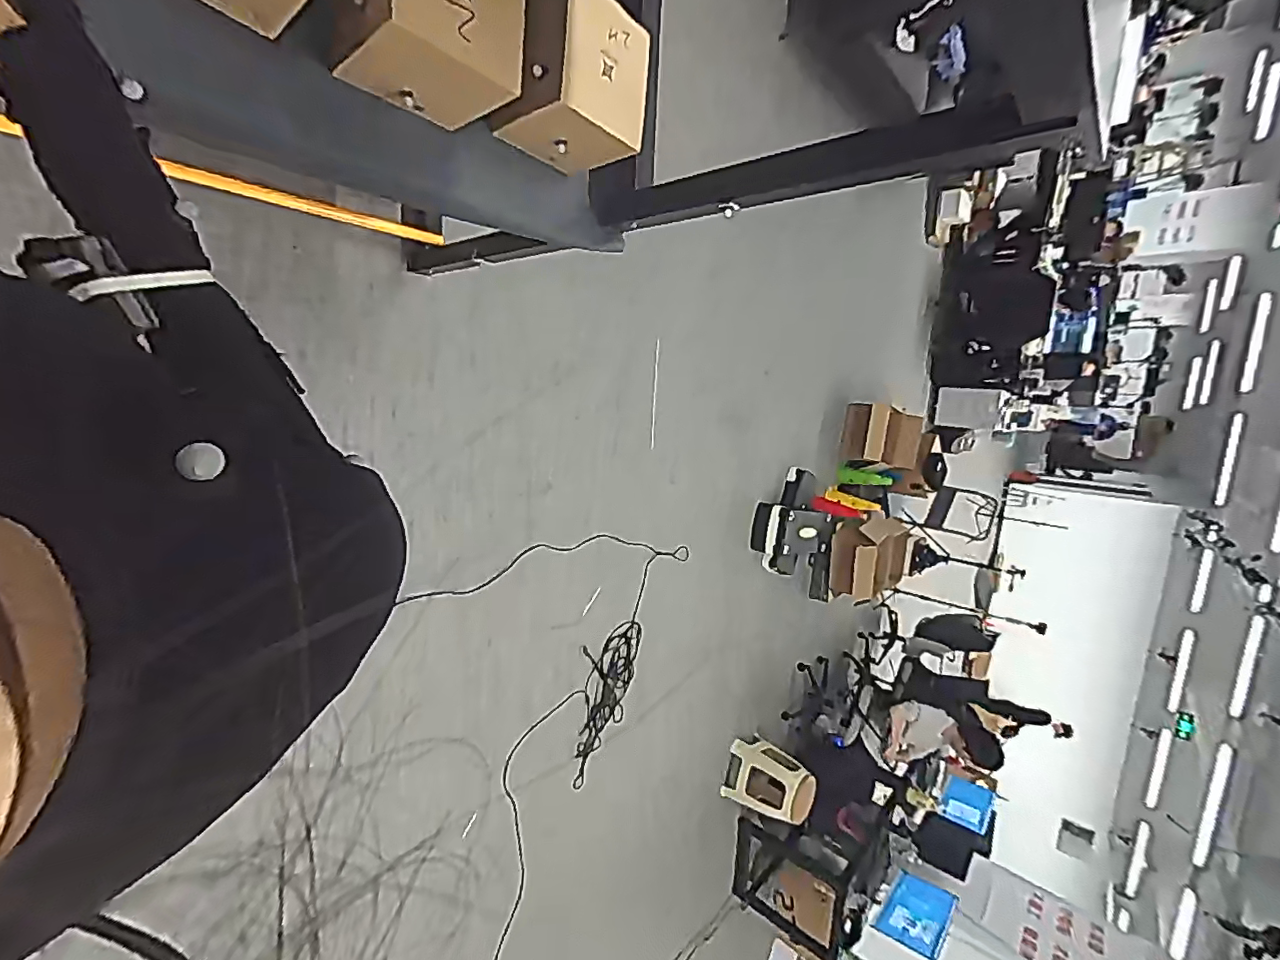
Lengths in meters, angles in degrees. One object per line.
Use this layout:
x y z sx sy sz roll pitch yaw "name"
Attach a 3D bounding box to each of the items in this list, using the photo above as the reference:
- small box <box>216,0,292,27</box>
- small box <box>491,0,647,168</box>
-0.404 -0.583 0.501 0.168 0.176 0.179 3 96 -50 "small box"
-0.112 -0.612 0.831 0.168 0.176 0.179 -2 100 -50 "small box"
